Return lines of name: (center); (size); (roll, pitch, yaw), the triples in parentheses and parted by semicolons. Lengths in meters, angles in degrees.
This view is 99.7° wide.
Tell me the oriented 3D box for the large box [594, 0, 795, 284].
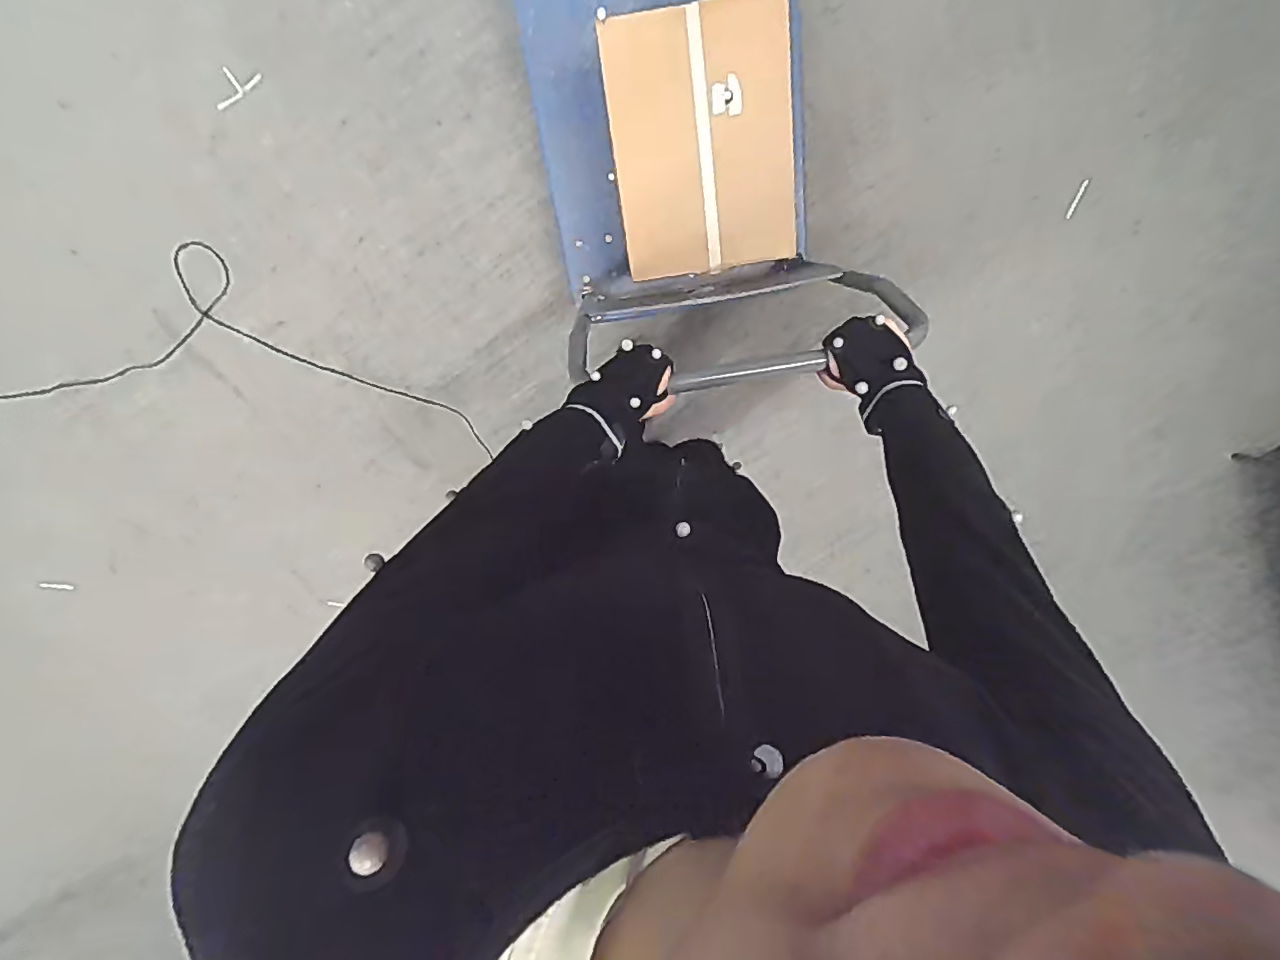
large box: (0.105, -0.630, 1.084); (0.320, 0.320, 0.408); (-9, 111, 1)
